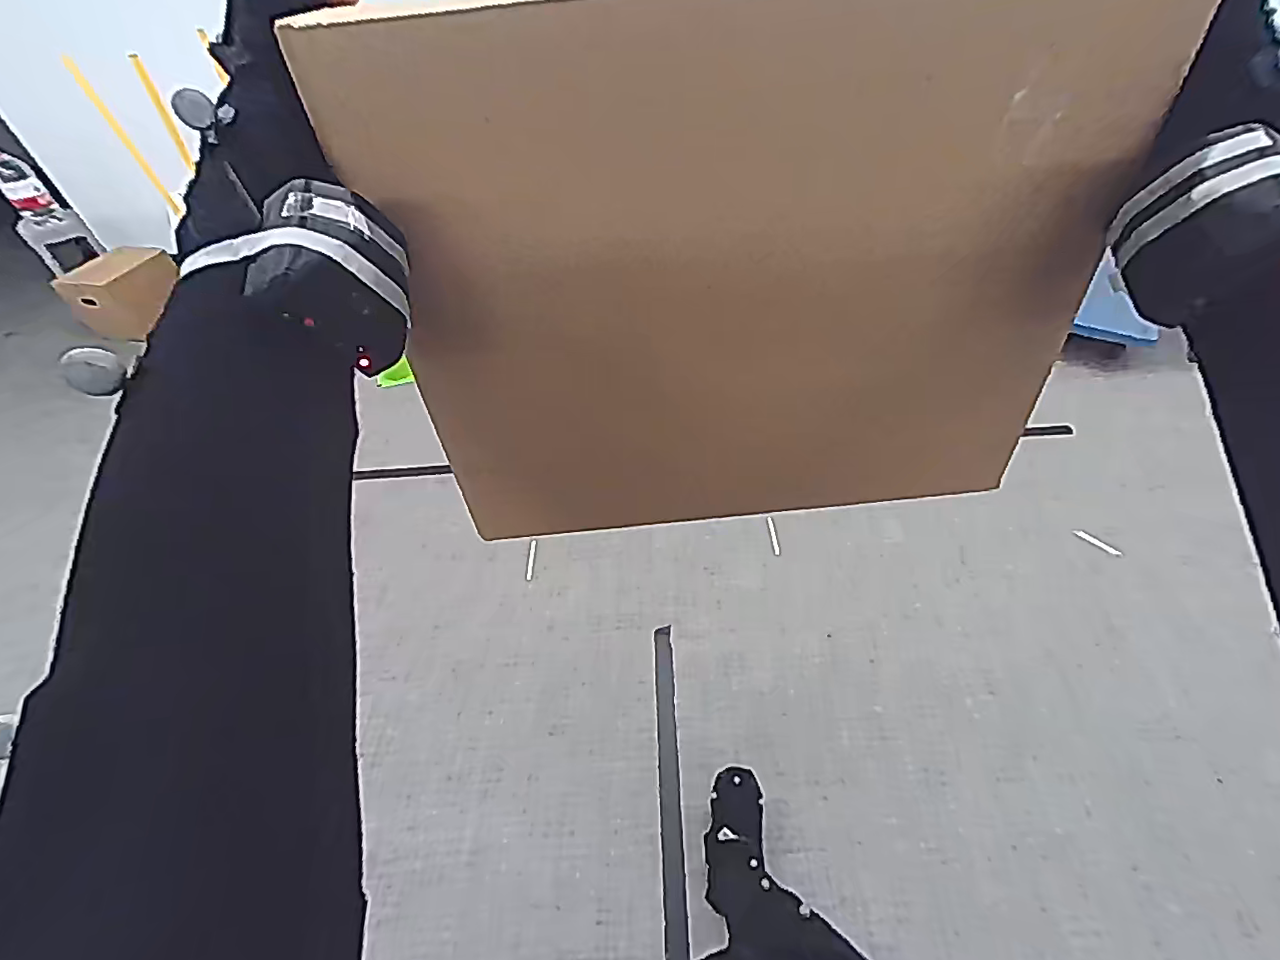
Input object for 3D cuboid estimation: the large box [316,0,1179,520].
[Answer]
[{"bbox_3d":[0.053,-0.194,0.444,0.408,0.320,0.320,-5,41,0],"label":"large box"}]
